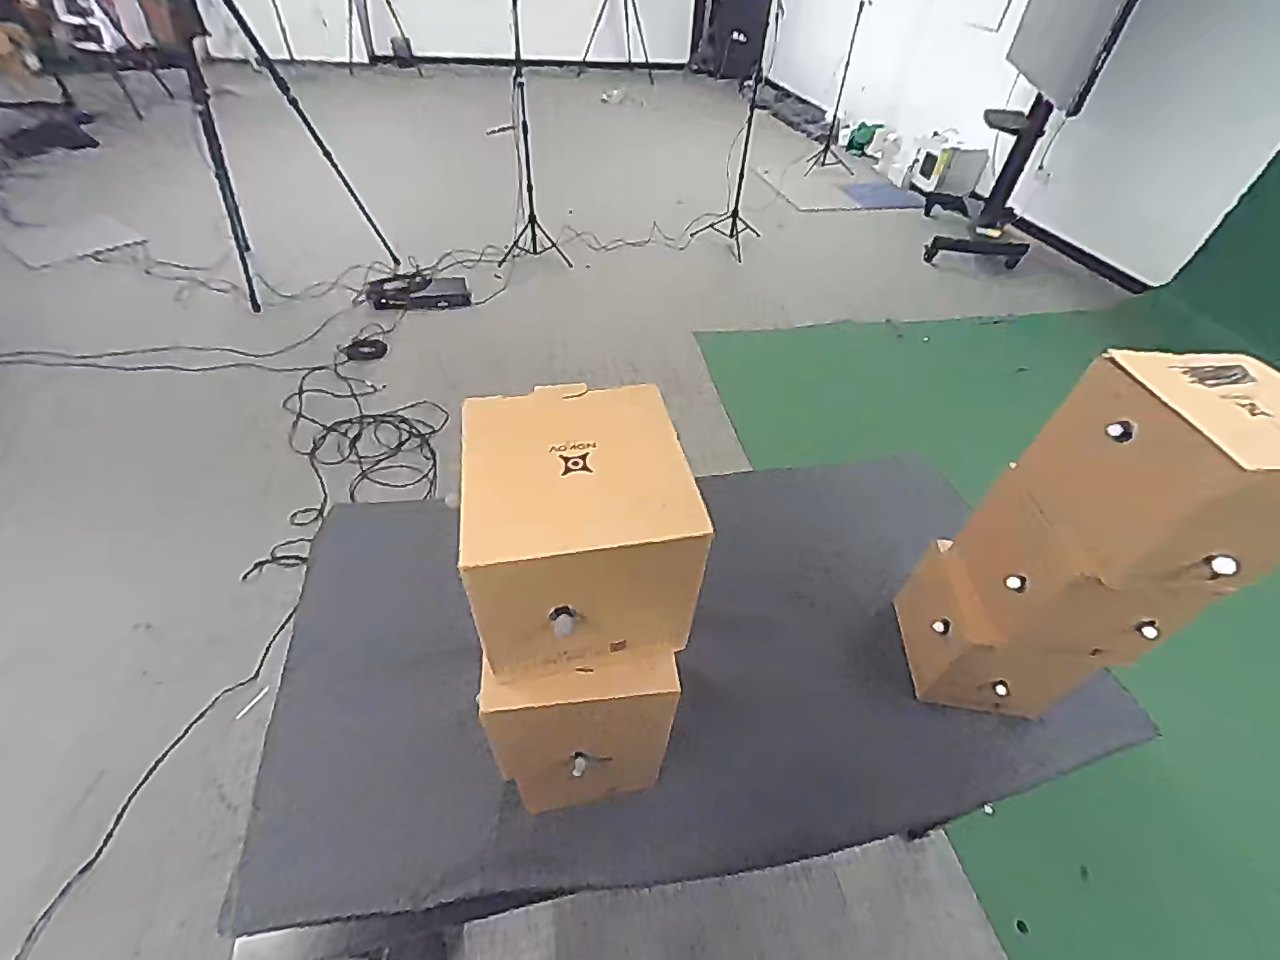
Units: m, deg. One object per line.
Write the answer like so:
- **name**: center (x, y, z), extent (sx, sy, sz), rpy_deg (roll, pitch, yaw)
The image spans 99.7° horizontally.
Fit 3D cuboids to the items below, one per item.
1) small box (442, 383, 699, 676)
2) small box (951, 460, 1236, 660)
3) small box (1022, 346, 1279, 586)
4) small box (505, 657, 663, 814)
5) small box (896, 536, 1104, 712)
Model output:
- **small box**: center (-0.059, 0.044, 0.449), extent (0.168, 0.176, 0.179), rpy_deg (-7, 46, -11)
- **small box**: center (0.521, 0.099, 0.658), extent (0.168, 0.176, 0.179), rpy_deg (4, 43, -1)
- **small box**: center (0.537, -0.014, 0.539), extent (0.168, 0.176, 0.179), rpy_deg (-1, 45, -5)
- **small box**: center (-0.076, 0.282, 0.674), extent (0.168, 0.176, 0.179), rpy_deg (-7, 46, -11)
- **small box**: center (0.493, 0.208, 0.775), extent (0.168, 0.176, 0.179), rpy_deg (8, 44, 3)
